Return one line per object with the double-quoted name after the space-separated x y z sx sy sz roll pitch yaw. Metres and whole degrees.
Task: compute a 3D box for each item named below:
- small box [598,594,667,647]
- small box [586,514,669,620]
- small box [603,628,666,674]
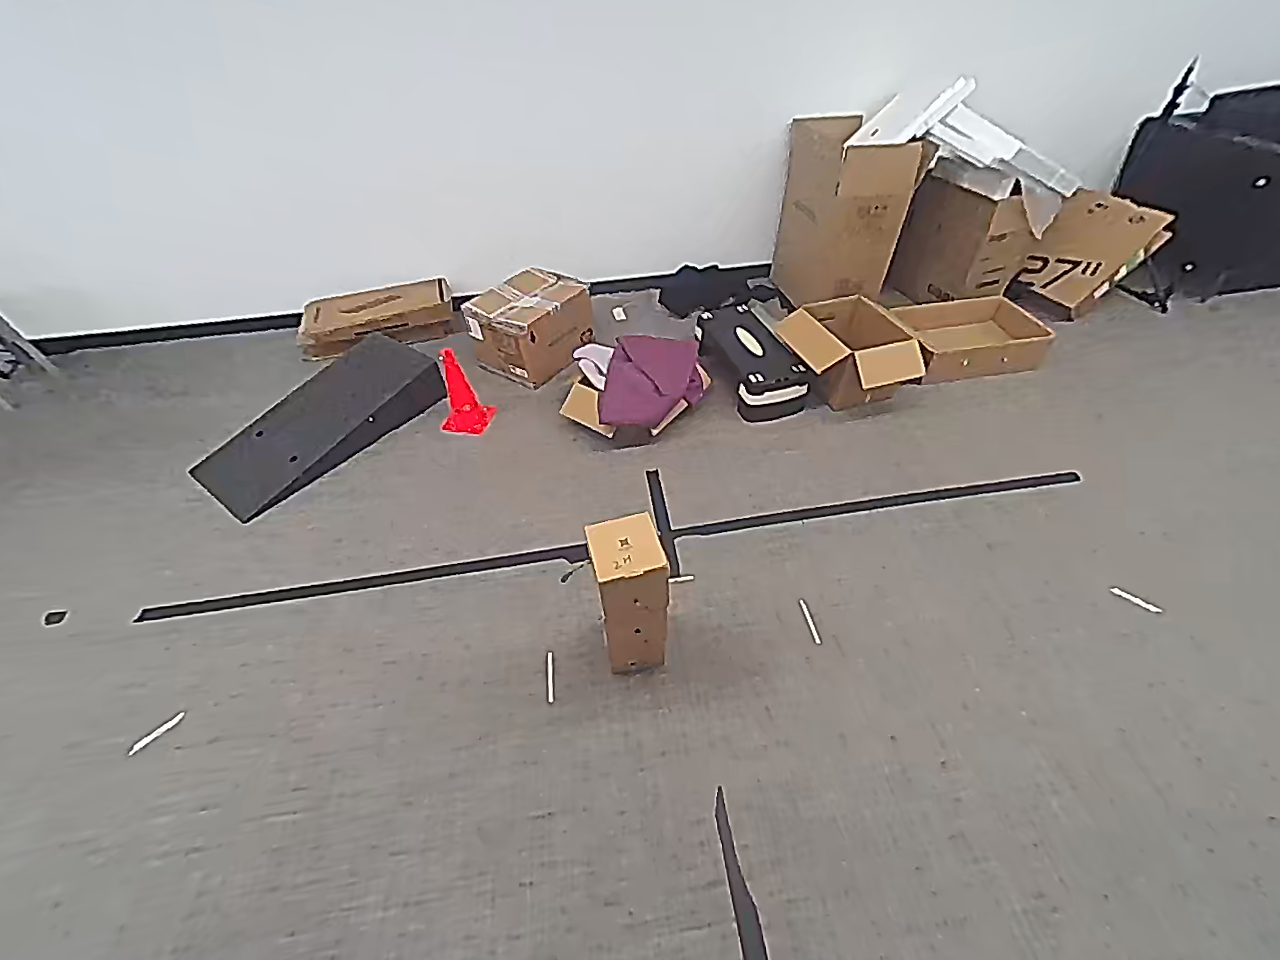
-0.023 0.331 1.449 0.168 0.176 0.179 -9 46 -5 "small box"
-0.031 0.214 1.331 0.168 0.176 0.179 -13 46 -8 "small box"
-0.022 0.436 1.576 0.168 0.176 0.179 -10 46 -5 "small box"
